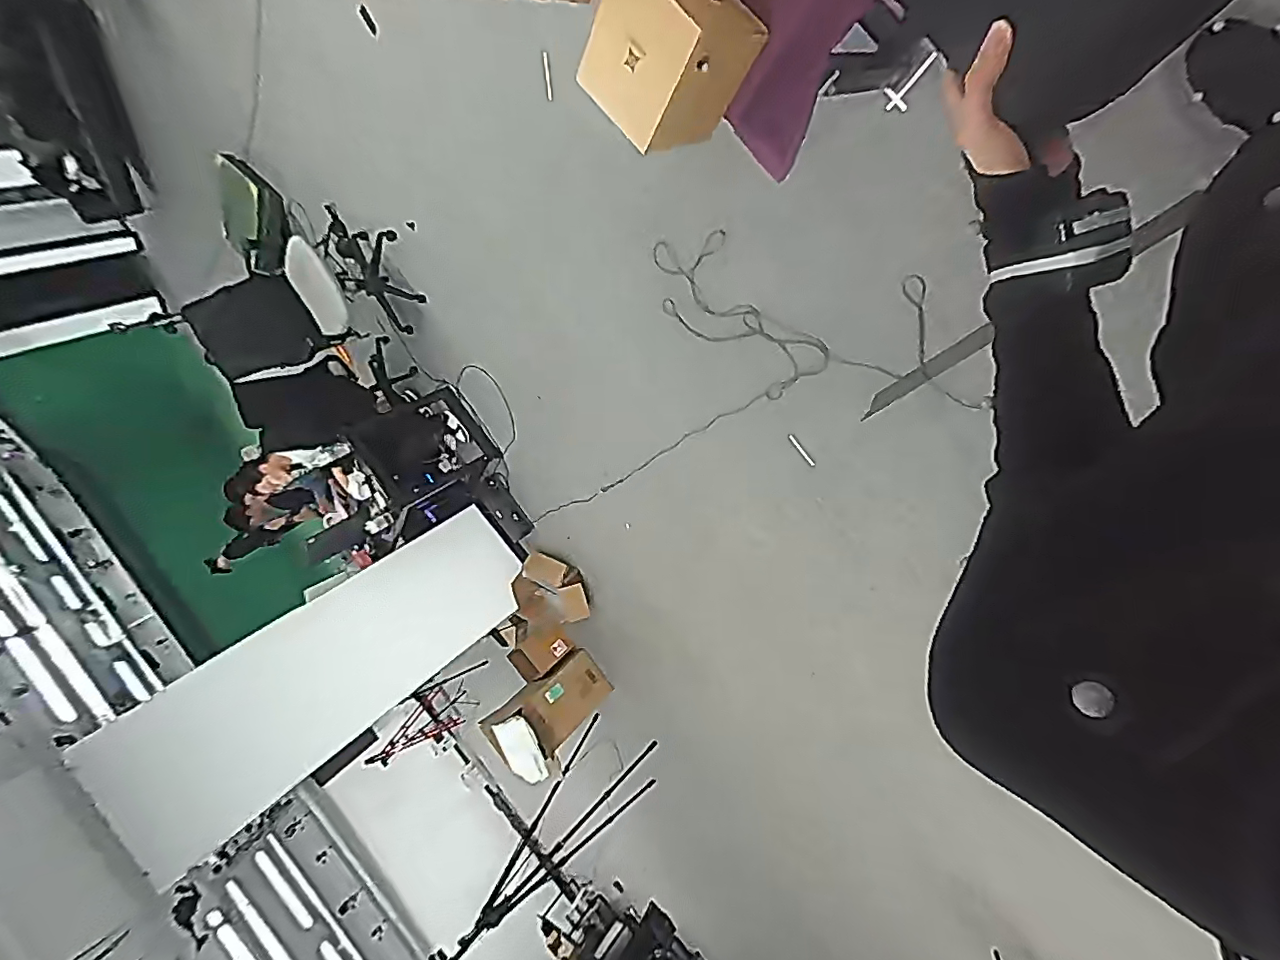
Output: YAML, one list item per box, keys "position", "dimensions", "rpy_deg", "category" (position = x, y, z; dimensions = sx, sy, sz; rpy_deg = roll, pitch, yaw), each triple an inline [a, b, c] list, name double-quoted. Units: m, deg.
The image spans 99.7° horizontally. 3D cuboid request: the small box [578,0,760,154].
- position: [0.043, -0.623, 0.796]
  dimensions: [0.168, 0.176, 0.179]
  rpy_deg: [50, 142, 5]
  category: "small box"
